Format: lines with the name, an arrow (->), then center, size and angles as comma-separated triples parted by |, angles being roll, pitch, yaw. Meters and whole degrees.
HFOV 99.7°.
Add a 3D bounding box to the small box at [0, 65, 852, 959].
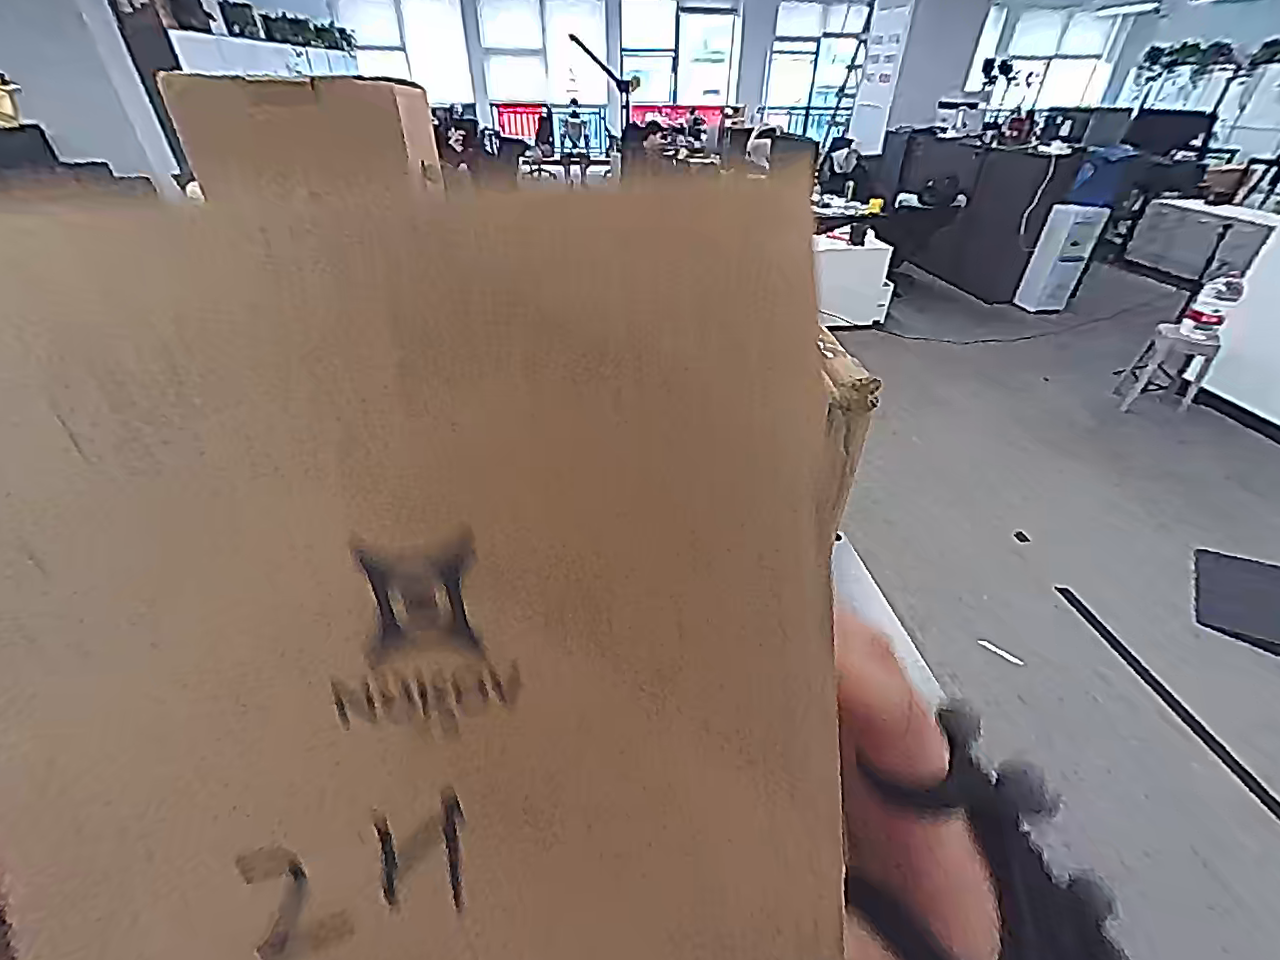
small box -> -0.048, 0.010, 0.178 | 0.168, 0.179, 0.176 | -4, 7, -3
